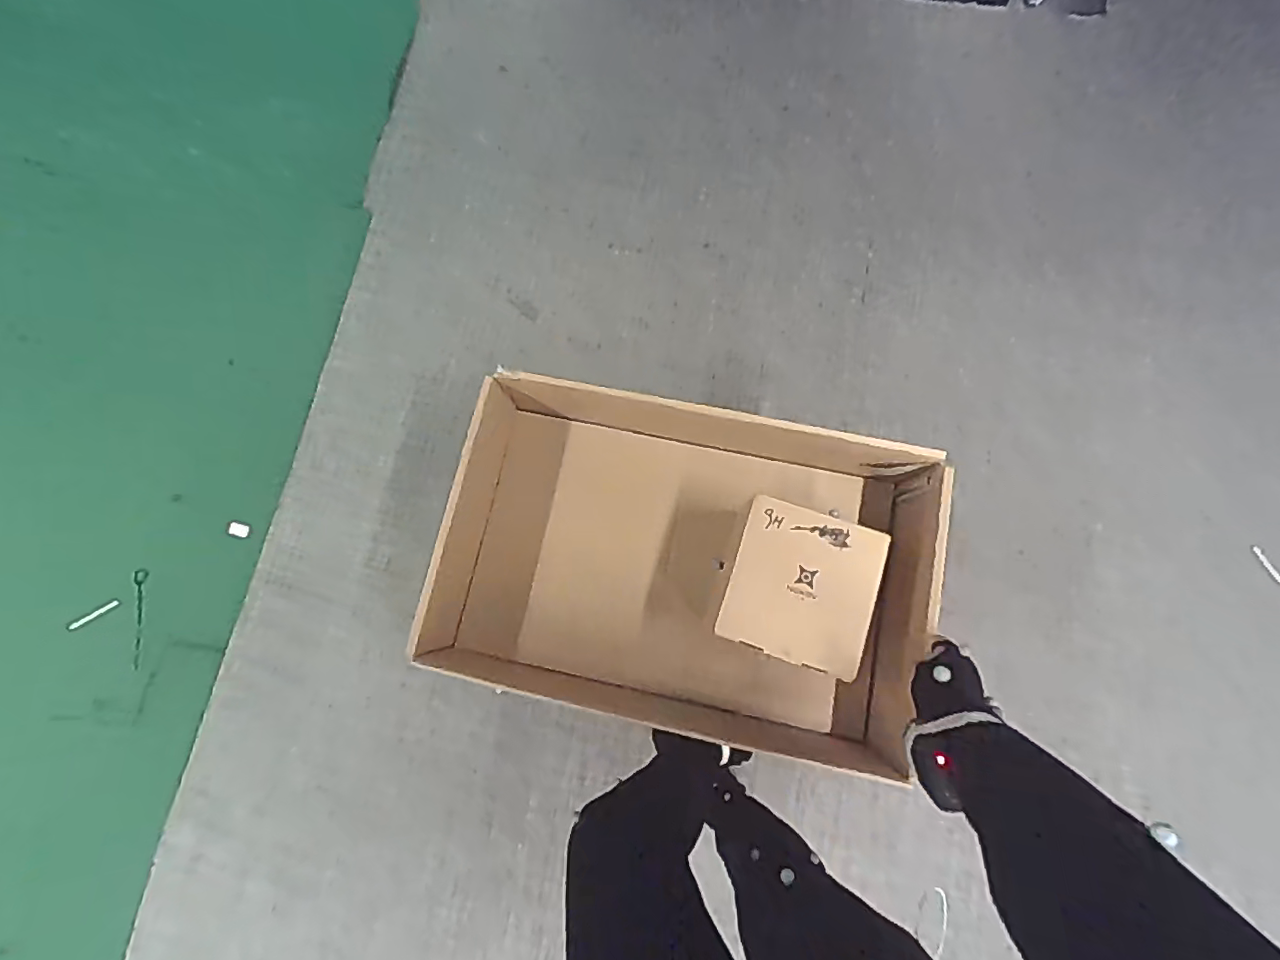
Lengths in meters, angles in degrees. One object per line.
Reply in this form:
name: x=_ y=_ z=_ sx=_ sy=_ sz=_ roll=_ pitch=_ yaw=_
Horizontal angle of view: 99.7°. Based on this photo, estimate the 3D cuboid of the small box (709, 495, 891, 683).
small box: x=0.192 y=0.137 z=0.703 sx=0.168 sy=0.176 sz=0.179 roll=18 pitch=81 yaw=5
